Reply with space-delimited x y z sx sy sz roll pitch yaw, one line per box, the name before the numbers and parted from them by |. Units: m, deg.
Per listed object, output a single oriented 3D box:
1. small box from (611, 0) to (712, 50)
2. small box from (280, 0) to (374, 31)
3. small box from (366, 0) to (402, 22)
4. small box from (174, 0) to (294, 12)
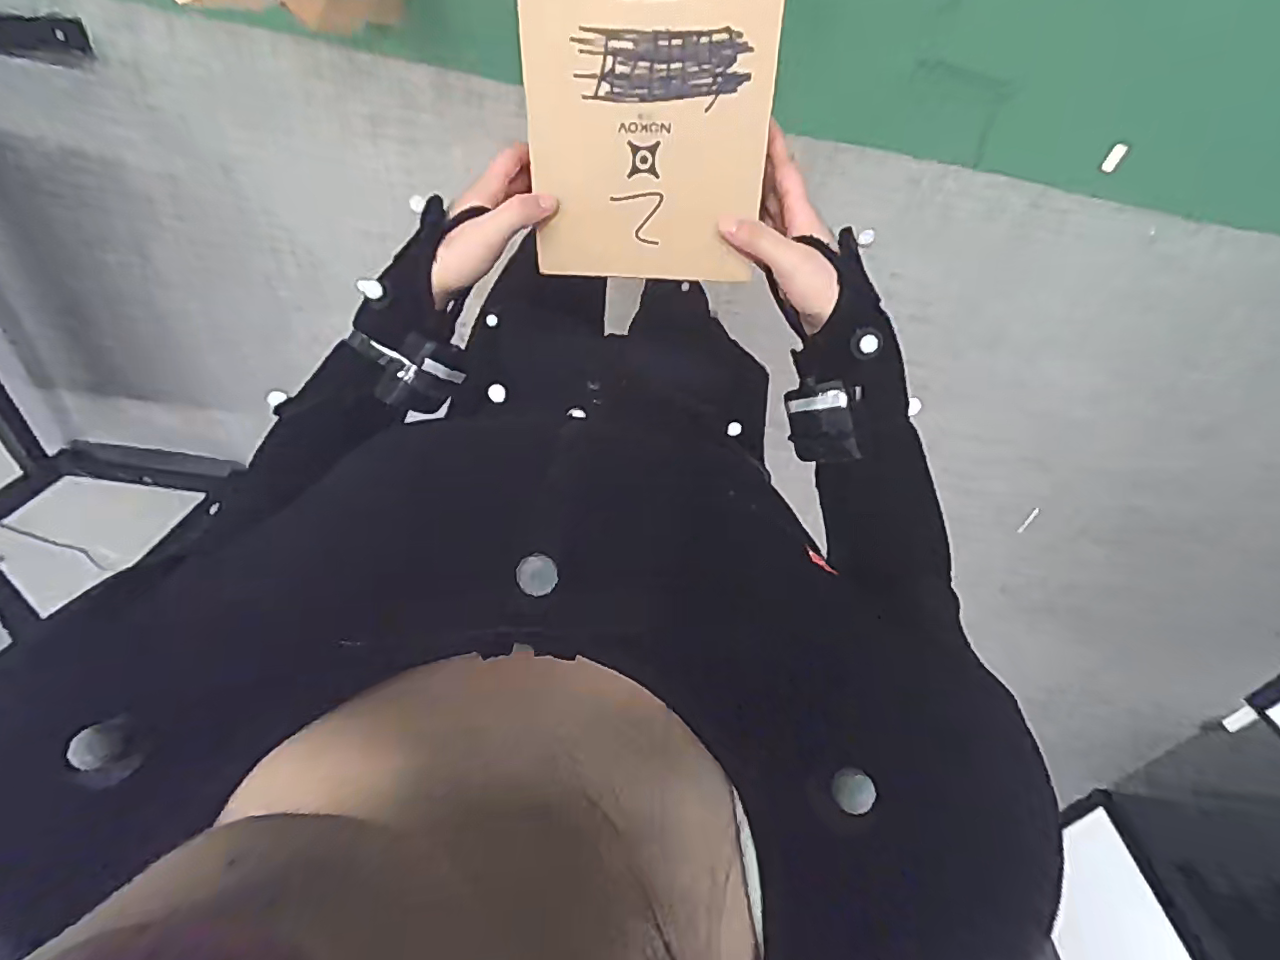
small box | 0.036 -0.845 0.917 0.168 0.176 0.179 1 128 1
small box | -0.473 -0.793 0.777 0.179 0.176 0.168 -36 120 26
small box | -0.497 -0.903 0.897 0.168 0.176 0.179 21 126 -15
small box | -0.488 -0.692 0.648 0.179 0.176 0.168 -9 129 11
